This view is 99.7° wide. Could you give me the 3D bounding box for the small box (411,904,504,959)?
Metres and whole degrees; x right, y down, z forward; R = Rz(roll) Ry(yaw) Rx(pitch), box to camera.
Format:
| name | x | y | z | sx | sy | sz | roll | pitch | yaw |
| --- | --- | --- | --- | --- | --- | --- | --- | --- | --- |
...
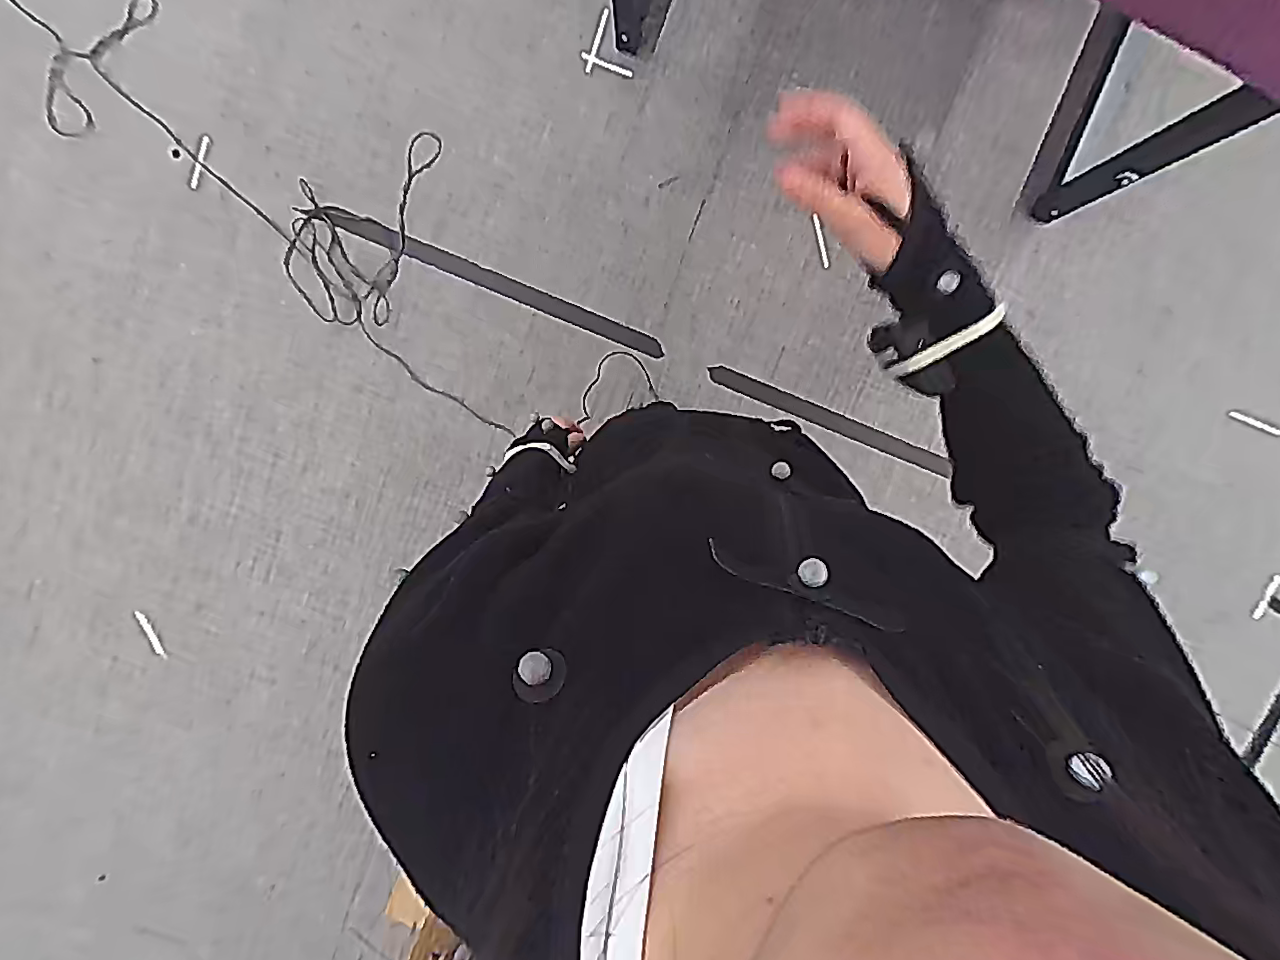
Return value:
| name | x | y | z | sx | sy | sz | roll | pitch | yaw |
| --- | --- | --- | --- | --- | --- | --- | --- | --- | --- |
| small box | -0.390 | 1.019 | 1.094 | 0.168 | 0.176 | 0.179 | 18 | 98 | -1 |
